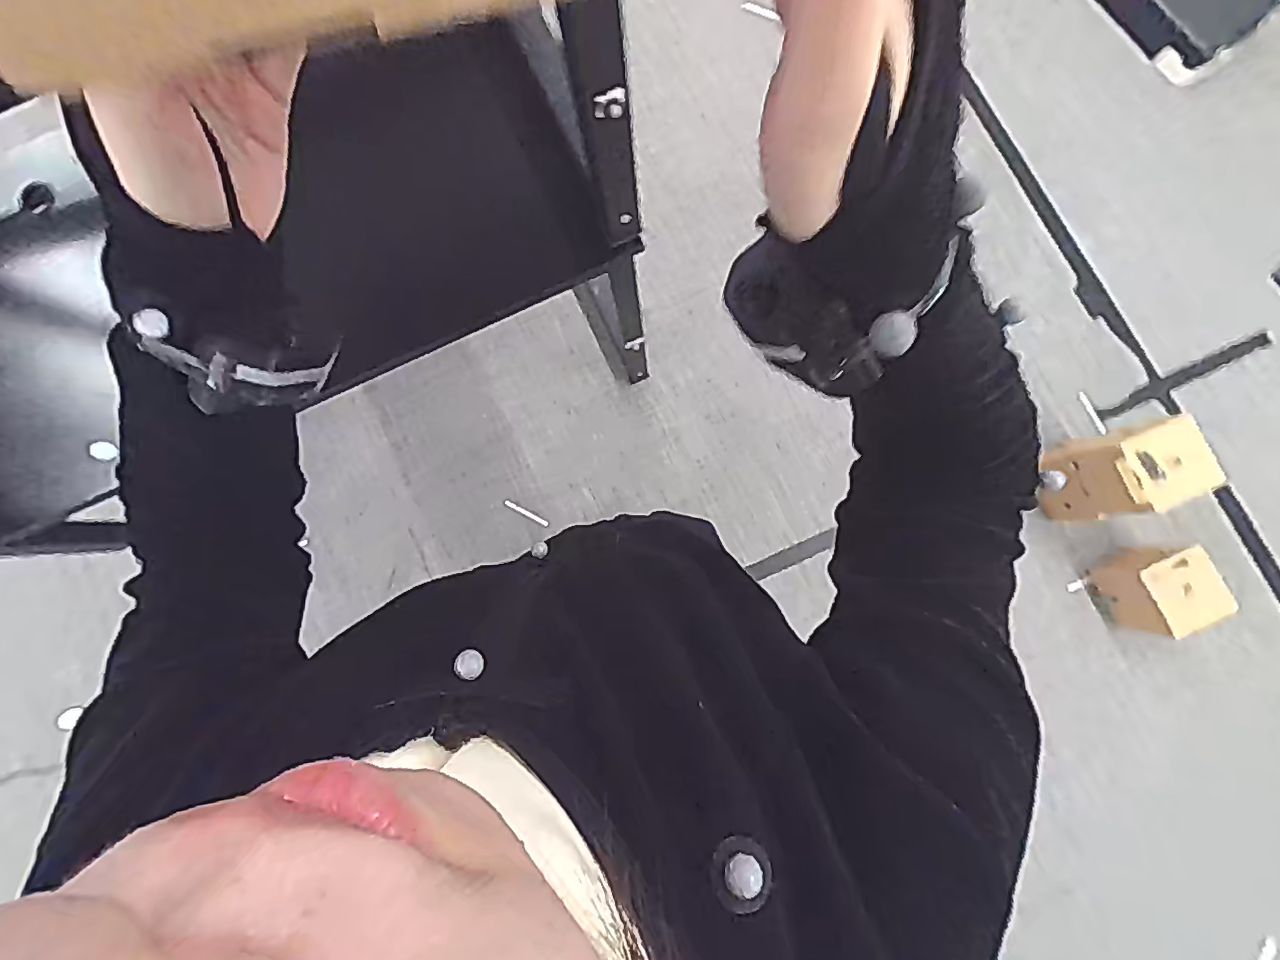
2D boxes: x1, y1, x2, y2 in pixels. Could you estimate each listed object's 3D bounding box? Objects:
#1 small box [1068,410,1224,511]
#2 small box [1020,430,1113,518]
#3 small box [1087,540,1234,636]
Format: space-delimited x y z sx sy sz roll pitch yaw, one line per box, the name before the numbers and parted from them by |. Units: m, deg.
small box | 1.128 -0.036 1.229 0.179 0.176 0.168 -24 85 -1
small box | 1.141 -0.015 1.391 0.168 0.176 0.179 -27 85 0
small box | 1.297 0.263 1.362 0.168 0.176 0.179 -26 85 0
